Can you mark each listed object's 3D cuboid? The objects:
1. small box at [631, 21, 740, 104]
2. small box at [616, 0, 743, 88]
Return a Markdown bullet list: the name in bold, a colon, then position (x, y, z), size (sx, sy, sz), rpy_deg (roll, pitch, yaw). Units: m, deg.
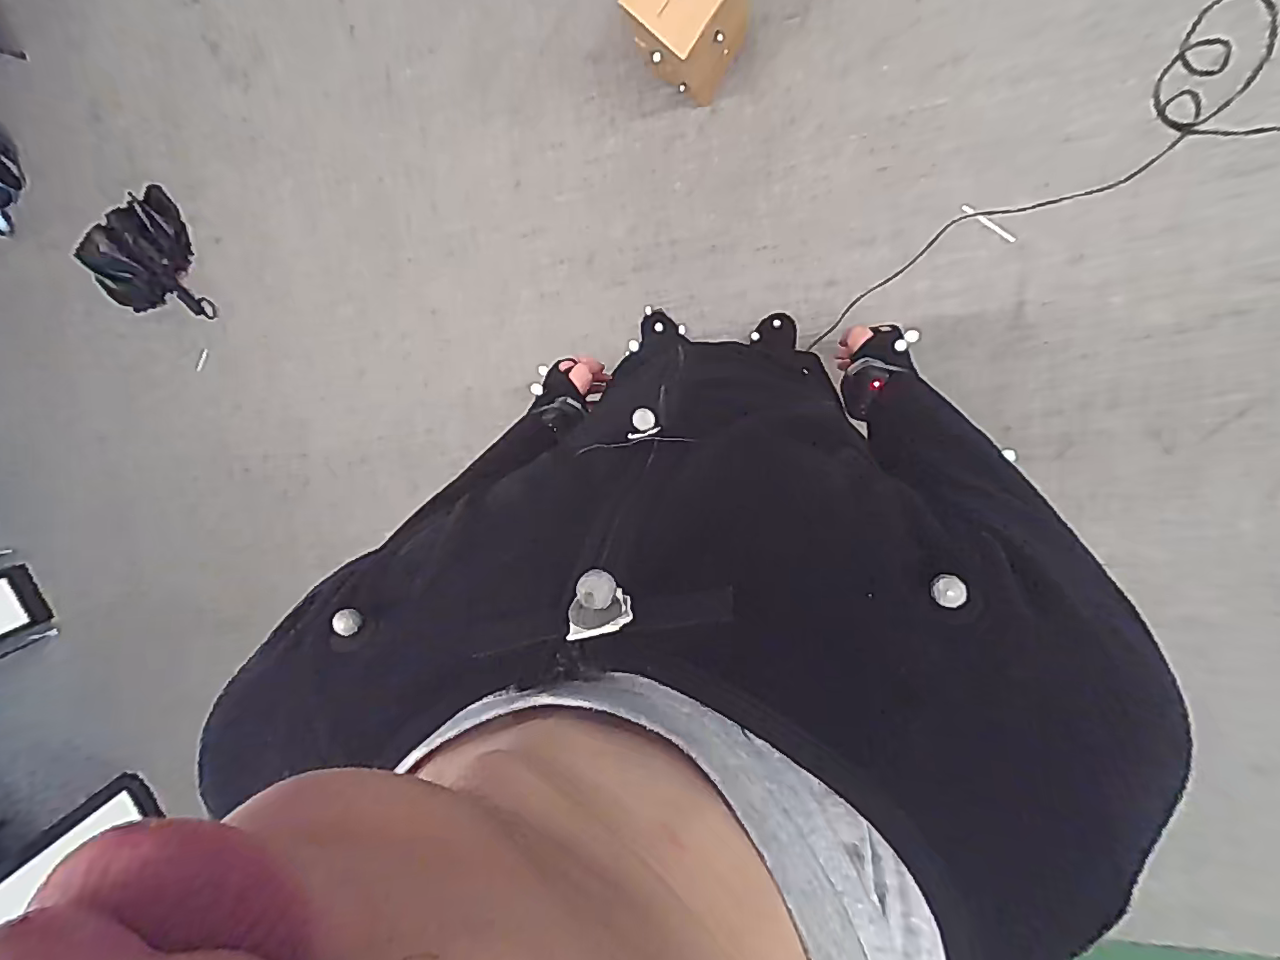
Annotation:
- **small box**: position (0.108, -0.975, 1.188), size (0.168, 0.176, 0.179), rpy_deg (34, 112, 0)
- **small box**: position (0.084, -0.910, 1.037), size (0.168, 0.176, 0.179), rpy_deg (41, 114, -2)
